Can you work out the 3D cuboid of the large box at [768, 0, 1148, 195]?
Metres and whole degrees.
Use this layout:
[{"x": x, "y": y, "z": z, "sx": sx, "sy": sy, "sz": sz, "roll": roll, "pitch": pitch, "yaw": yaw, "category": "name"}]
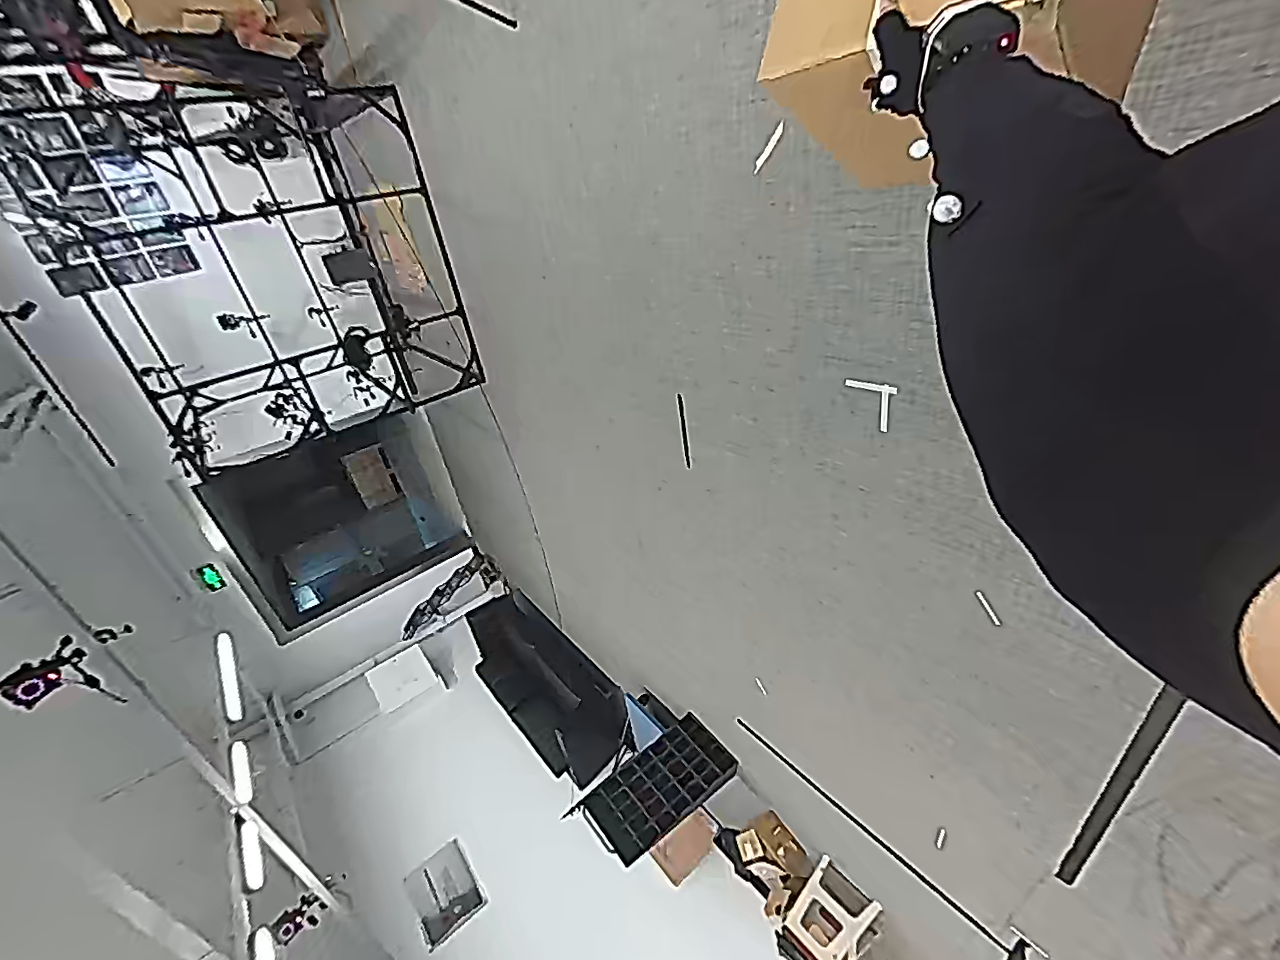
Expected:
[{"x": 0.410, "y": -0.630, "z": 0.655, "sx": 0.320, "sy": 0.320, "sz": 0.408, "roll": 22, "pitch": 102, "yaw": 46, "category": "large box"}]
